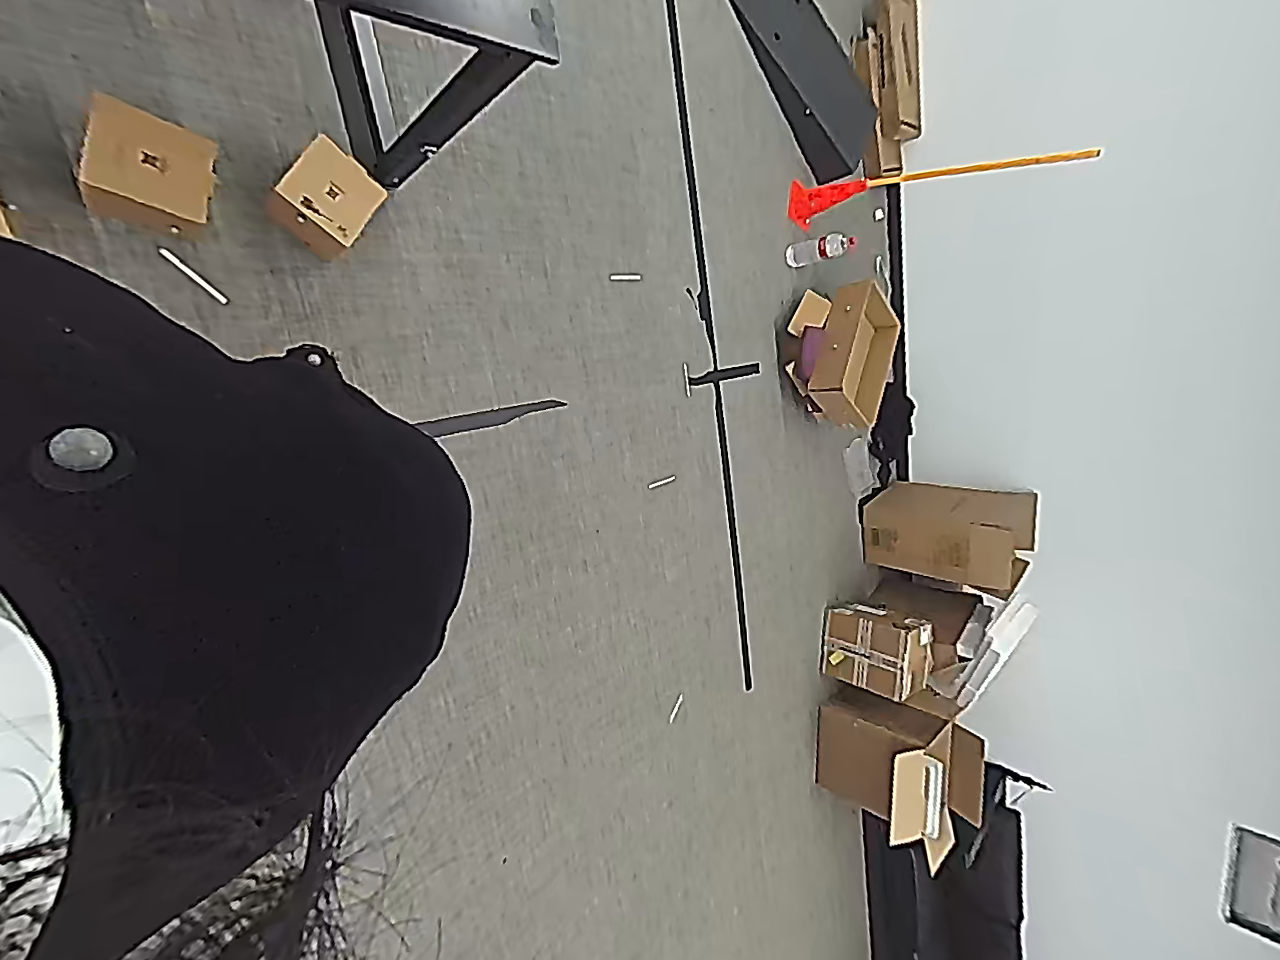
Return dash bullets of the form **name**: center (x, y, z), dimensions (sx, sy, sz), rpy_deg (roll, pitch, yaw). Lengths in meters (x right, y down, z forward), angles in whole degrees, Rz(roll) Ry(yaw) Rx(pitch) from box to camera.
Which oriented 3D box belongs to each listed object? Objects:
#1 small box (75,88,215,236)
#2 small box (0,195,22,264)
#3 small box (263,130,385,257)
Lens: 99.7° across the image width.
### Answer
- **small box**: center (-0.953, -0.596, 1.047), dimensions (0.179, 0.176, 0.168), rpy_deg (8, 88, -43)
- **small box**: center (-1.153, -0.457, 0.870), dimensions (0.168, 0.176, 0.179), rpy_deg (-21, 110, -40)
- **small box**: center (-0.732, -0.651, 1.247), dimensions (0.168, 0.176, 0.179), rpy_deg (38, 69, -39)
